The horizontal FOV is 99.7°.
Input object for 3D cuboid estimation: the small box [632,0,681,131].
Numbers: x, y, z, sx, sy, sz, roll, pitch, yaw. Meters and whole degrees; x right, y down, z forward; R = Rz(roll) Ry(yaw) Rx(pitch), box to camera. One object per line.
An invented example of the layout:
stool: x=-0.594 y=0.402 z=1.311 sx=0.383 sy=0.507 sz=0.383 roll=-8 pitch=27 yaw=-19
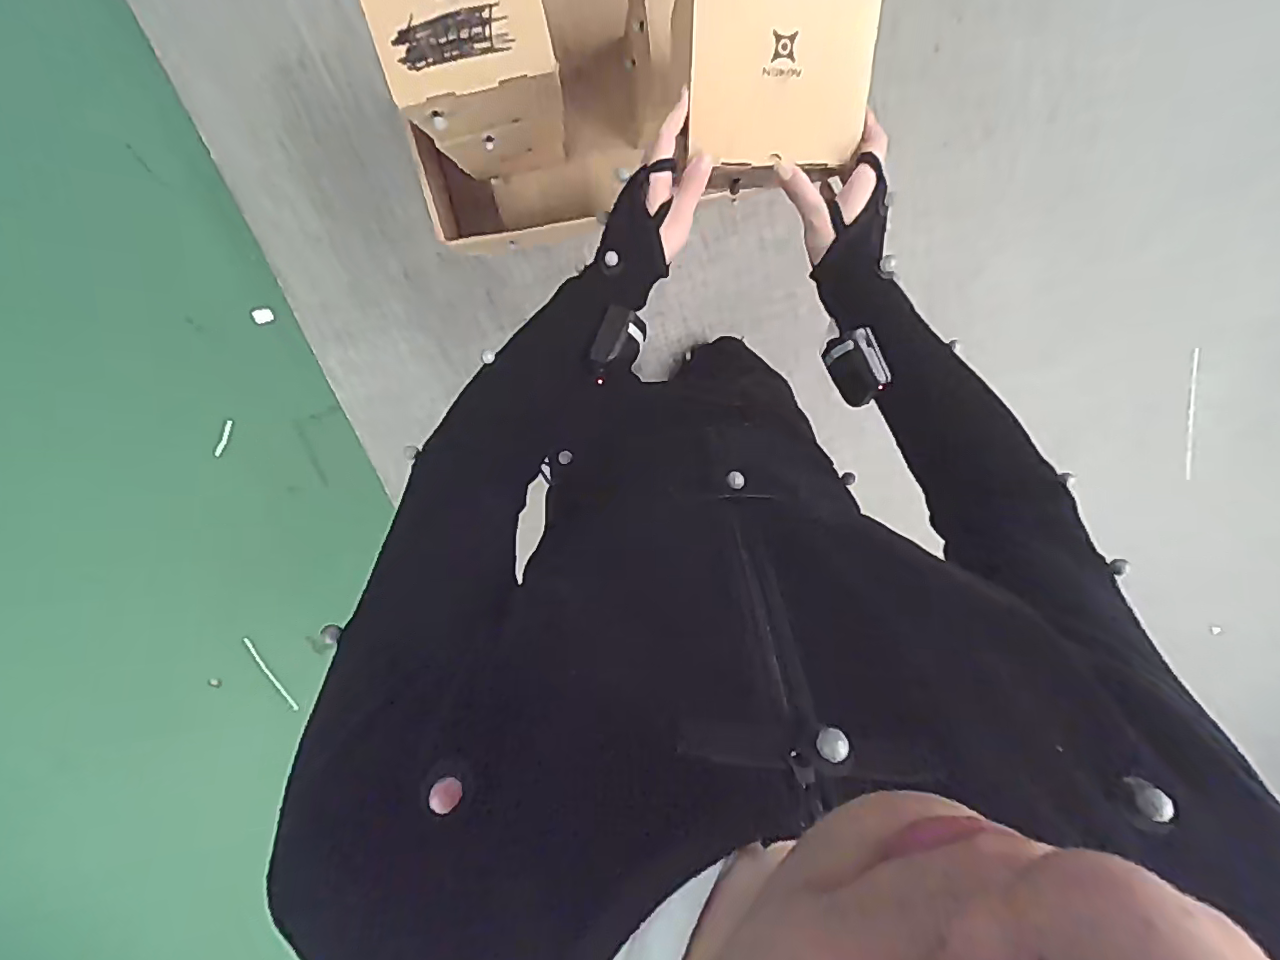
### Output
small box: x=0.084 y=-0.599 z=0.728 sx=0.168 sy=0.176 sz=0.179 roll=-8 pitch=112 yaw=-2

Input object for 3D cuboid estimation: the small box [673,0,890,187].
small box: x=0.125 y=-0.404 z=0.542 sx=0.168 sy=0.176 sz=0.179 roll=-2 pitch=113 yaw=-4

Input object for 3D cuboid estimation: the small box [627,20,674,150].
small box: x=0.073 y=-0.659 z=0.879 sx=0.168 sy=0.176 sz=0.179 roll=-8 pitch=112 yaw=-3

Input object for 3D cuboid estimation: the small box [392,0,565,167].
small box: x=-0.202 y=-0.543 z=0.718 sx=0.168 sy=0.176 sz=0.179 roll=-13 pitch=111 yaw=0
